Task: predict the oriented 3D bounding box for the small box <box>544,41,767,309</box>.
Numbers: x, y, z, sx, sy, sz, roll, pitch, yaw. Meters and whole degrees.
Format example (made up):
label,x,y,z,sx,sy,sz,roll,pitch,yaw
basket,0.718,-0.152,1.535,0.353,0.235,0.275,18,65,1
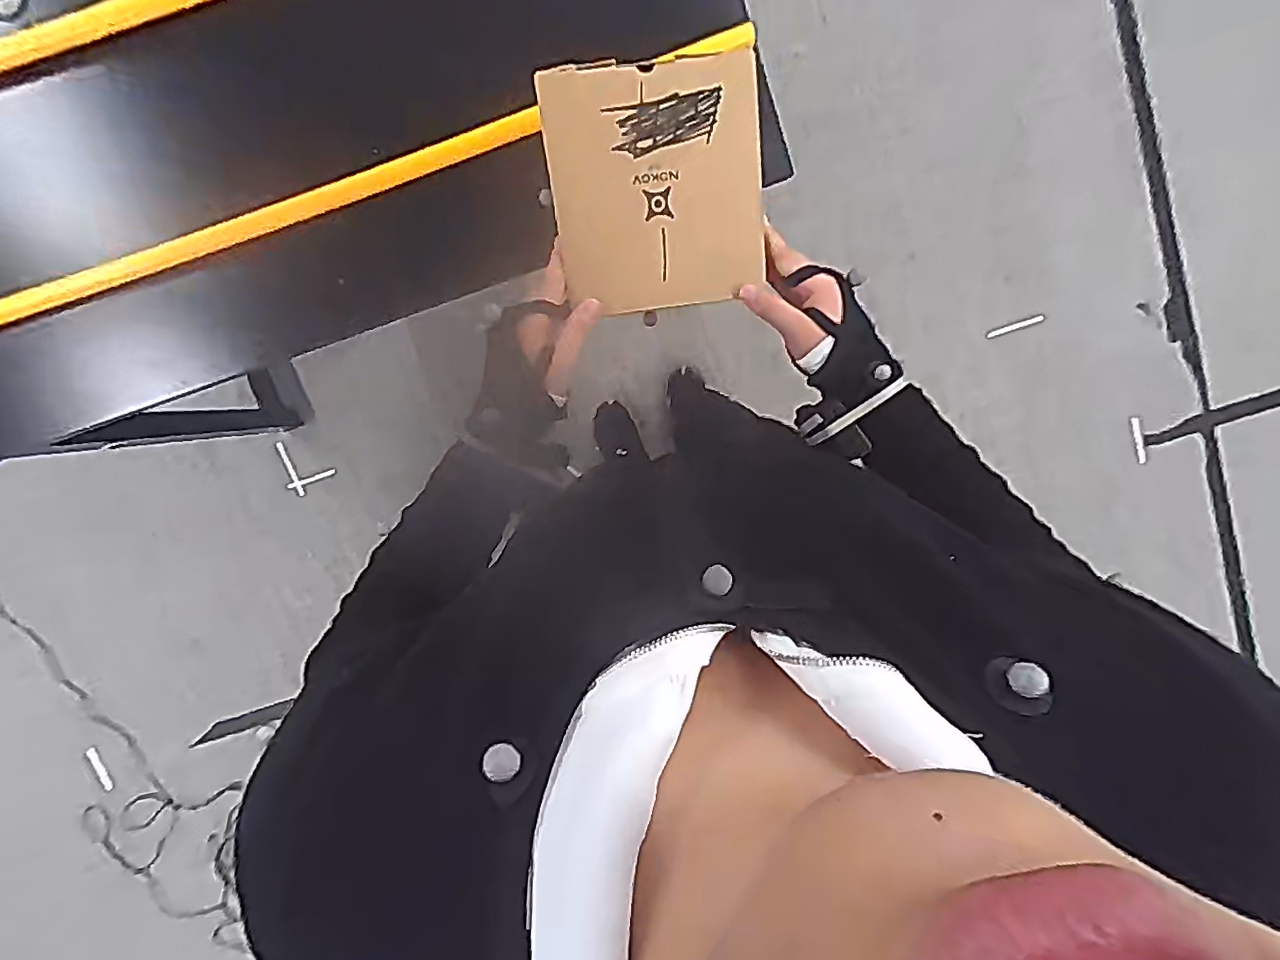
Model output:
label,x,y,z,sx,sy,sz,roll,pitch,yaw
small box,0.010,-0.259,0.502,0.168,0.176,0.179,-8,108,-2
